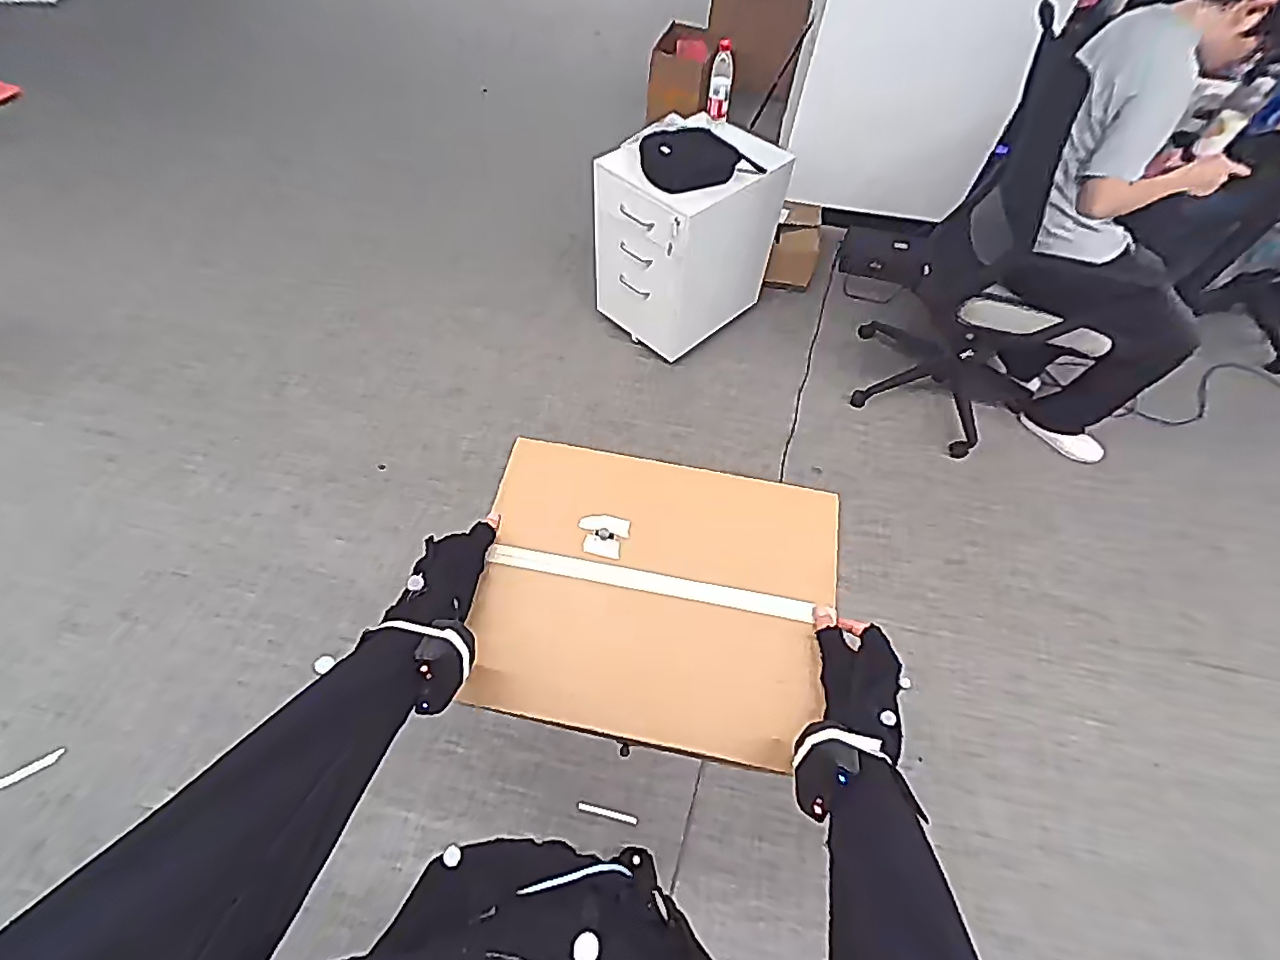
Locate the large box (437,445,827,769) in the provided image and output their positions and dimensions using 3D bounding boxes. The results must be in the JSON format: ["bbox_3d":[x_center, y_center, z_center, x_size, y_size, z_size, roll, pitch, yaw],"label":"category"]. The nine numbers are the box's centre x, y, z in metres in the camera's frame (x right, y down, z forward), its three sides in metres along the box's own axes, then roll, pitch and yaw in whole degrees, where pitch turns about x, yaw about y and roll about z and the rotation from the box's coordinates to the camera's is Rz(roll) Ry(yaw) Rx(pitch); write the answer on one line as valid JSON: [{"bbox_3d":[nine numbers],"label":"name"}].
[{"bbox_3d":[0.010,0.186,0.746,0.408,0.320,0.320,10,63,5],"label":"large box"}]
